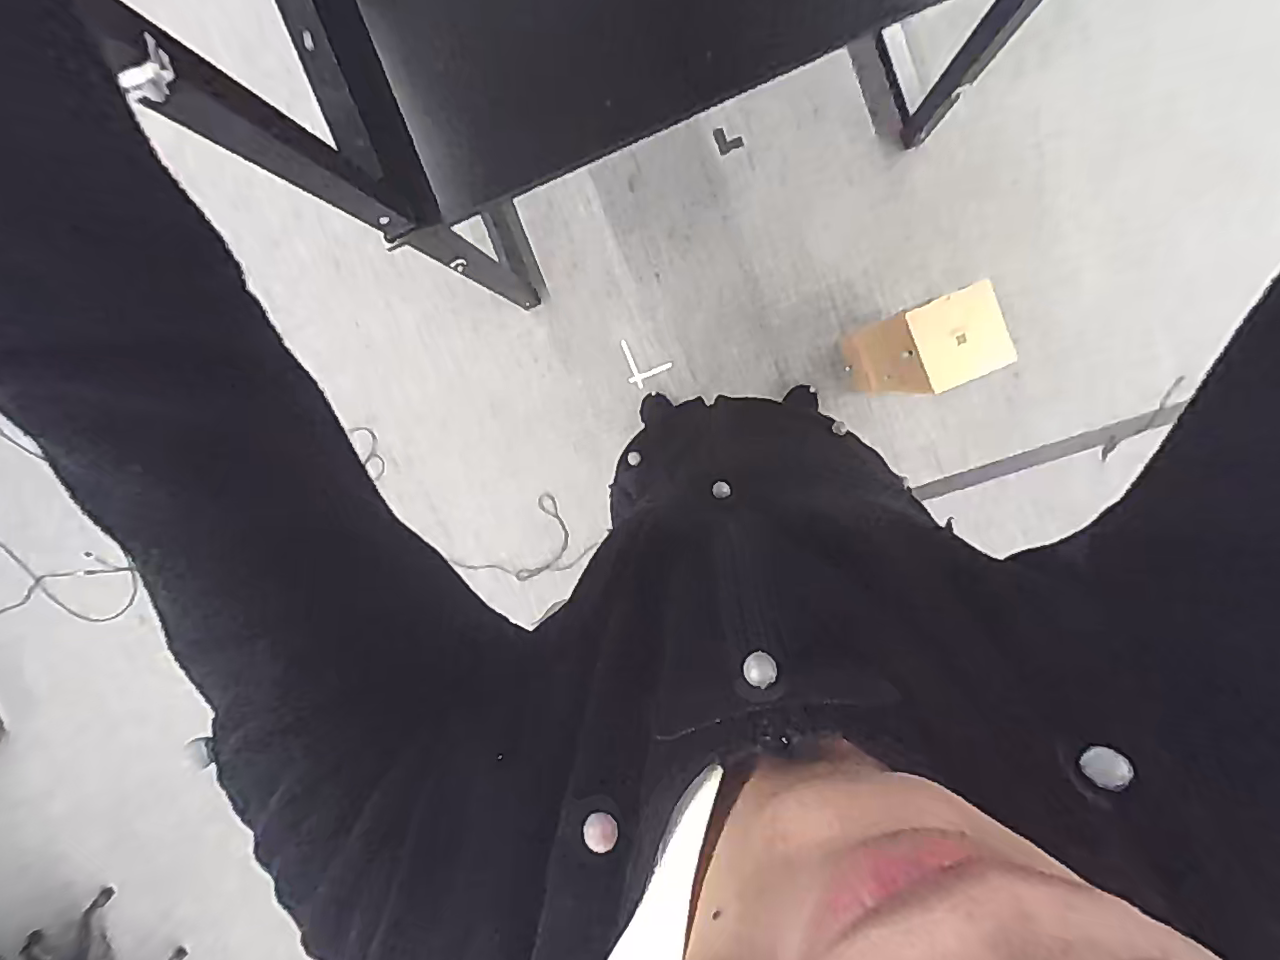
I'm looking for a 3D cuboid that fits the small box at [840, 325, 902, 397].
[{"bbox_3d":[0.666,-0.332,1.455,0.179,0.176,0.168,-22,94,9],"label":"small box"}]

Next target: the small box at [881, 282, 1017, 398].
[{"bbox_3d":[0.635,-0.284,1.133,0.168,0.176,0.179,-23,95,9],"label":"small box"}]
